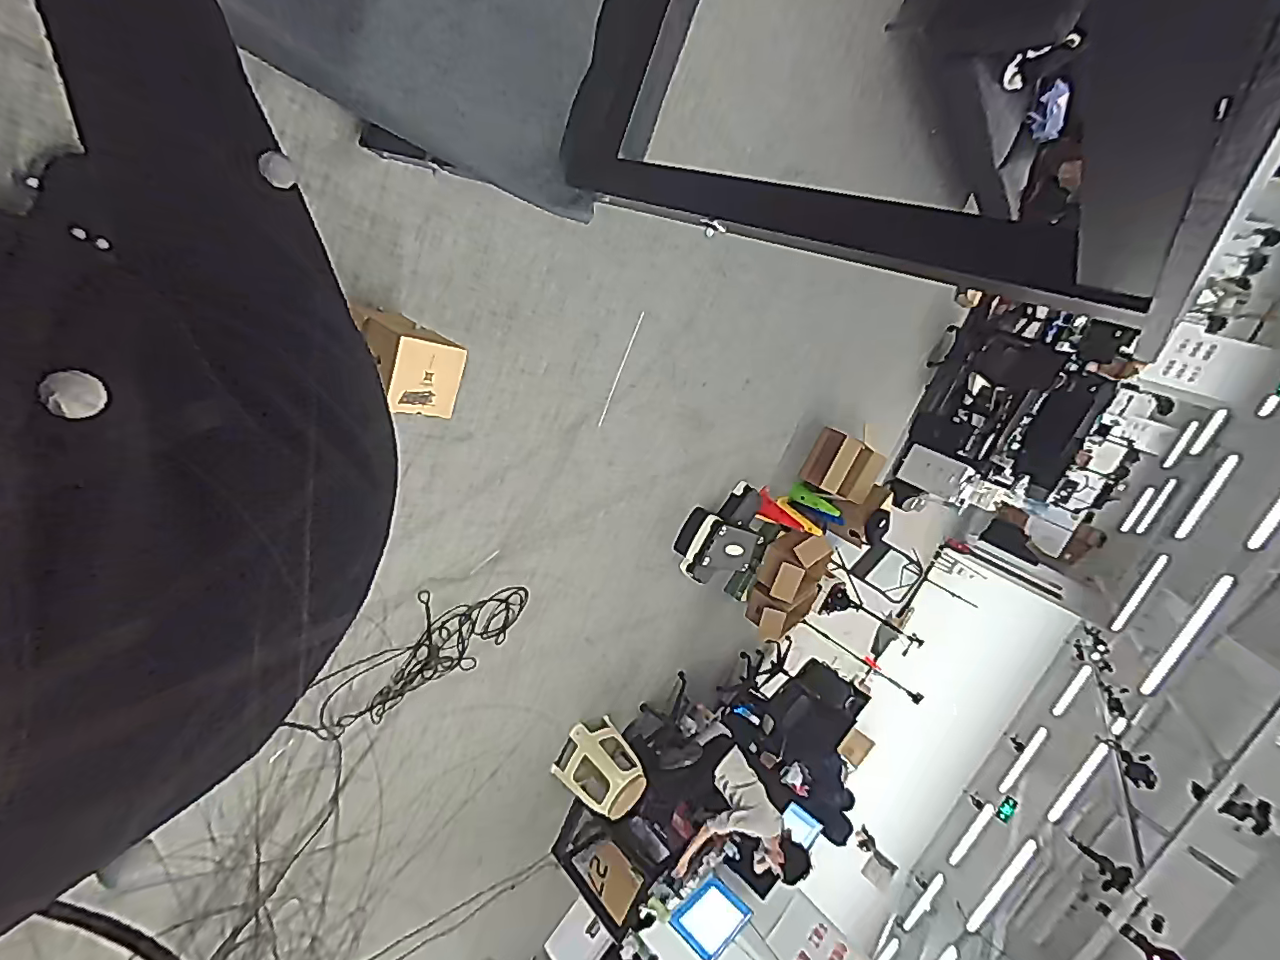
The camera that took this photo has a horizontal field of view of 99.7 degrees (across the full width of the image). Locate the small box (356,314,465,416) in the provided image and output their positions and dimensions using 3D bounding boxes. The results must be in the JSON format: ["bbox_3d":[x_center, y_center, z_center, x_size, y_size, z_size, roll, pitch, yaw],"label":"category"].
[{"bbox_3d":[-0.545,-0.269,1.274,0.168,0.176,0.179,2,114,-51],"label":"small box"}]
